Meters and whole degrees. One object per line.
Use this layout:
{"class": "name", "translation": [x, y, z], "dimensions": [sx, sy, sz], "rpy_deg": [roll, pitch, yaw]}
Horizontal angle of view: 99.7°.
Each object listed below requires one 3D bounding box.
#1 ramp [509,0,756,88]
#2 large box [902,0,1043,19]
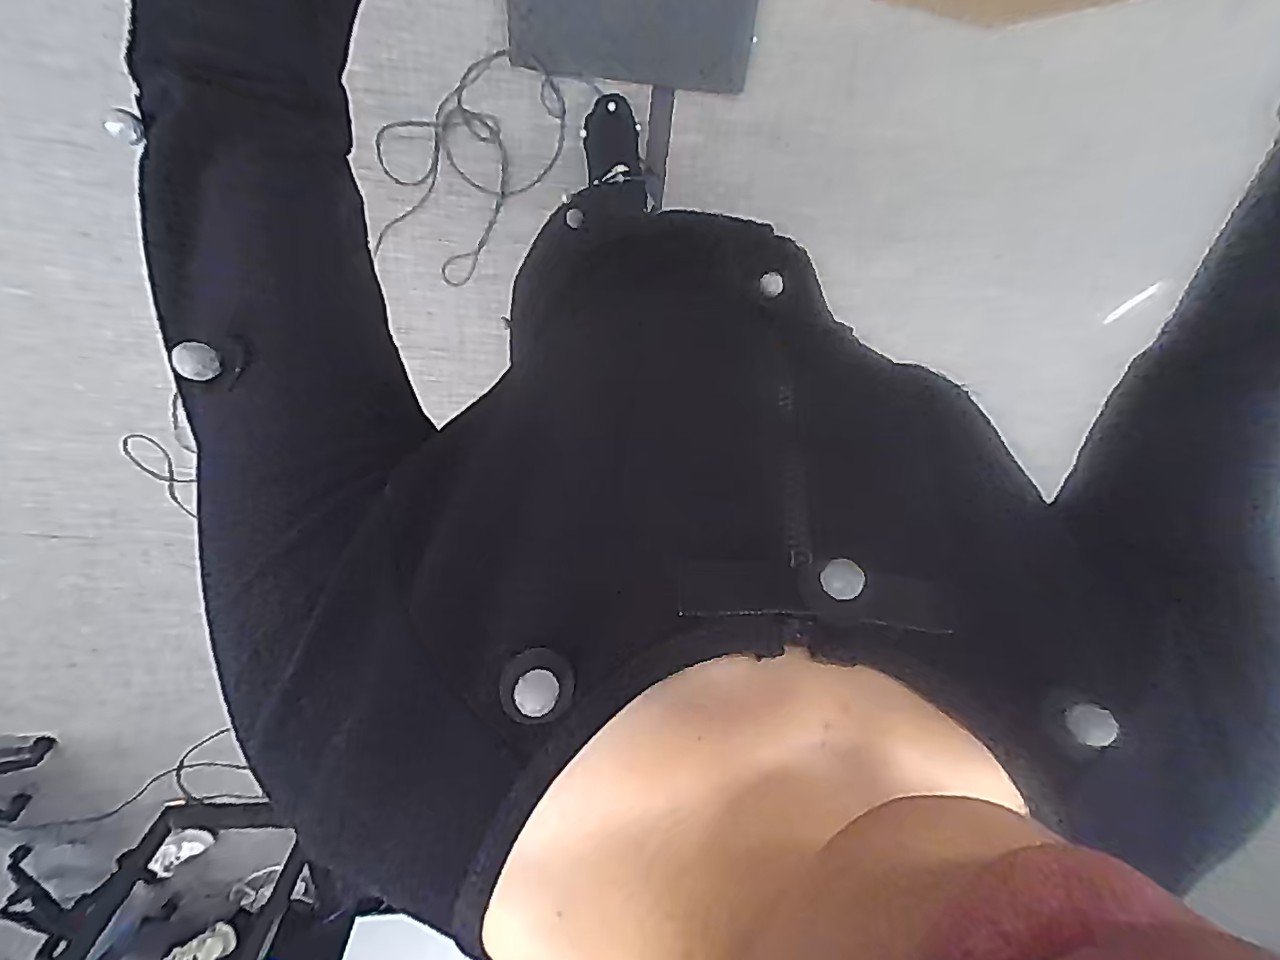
{"class": "ramp", "translation": [0.026, -1.249, 0.844], "dimensions": [0.509, 0.206, 0.991], "rpy_deg": [0, 117, -6]}
{"class": "large box", "translation": [0.159, -0.482, 0.261], "dimensions": [0.408, 0.320, 0.320], "rpy_deg": [5, 123, -10]}
